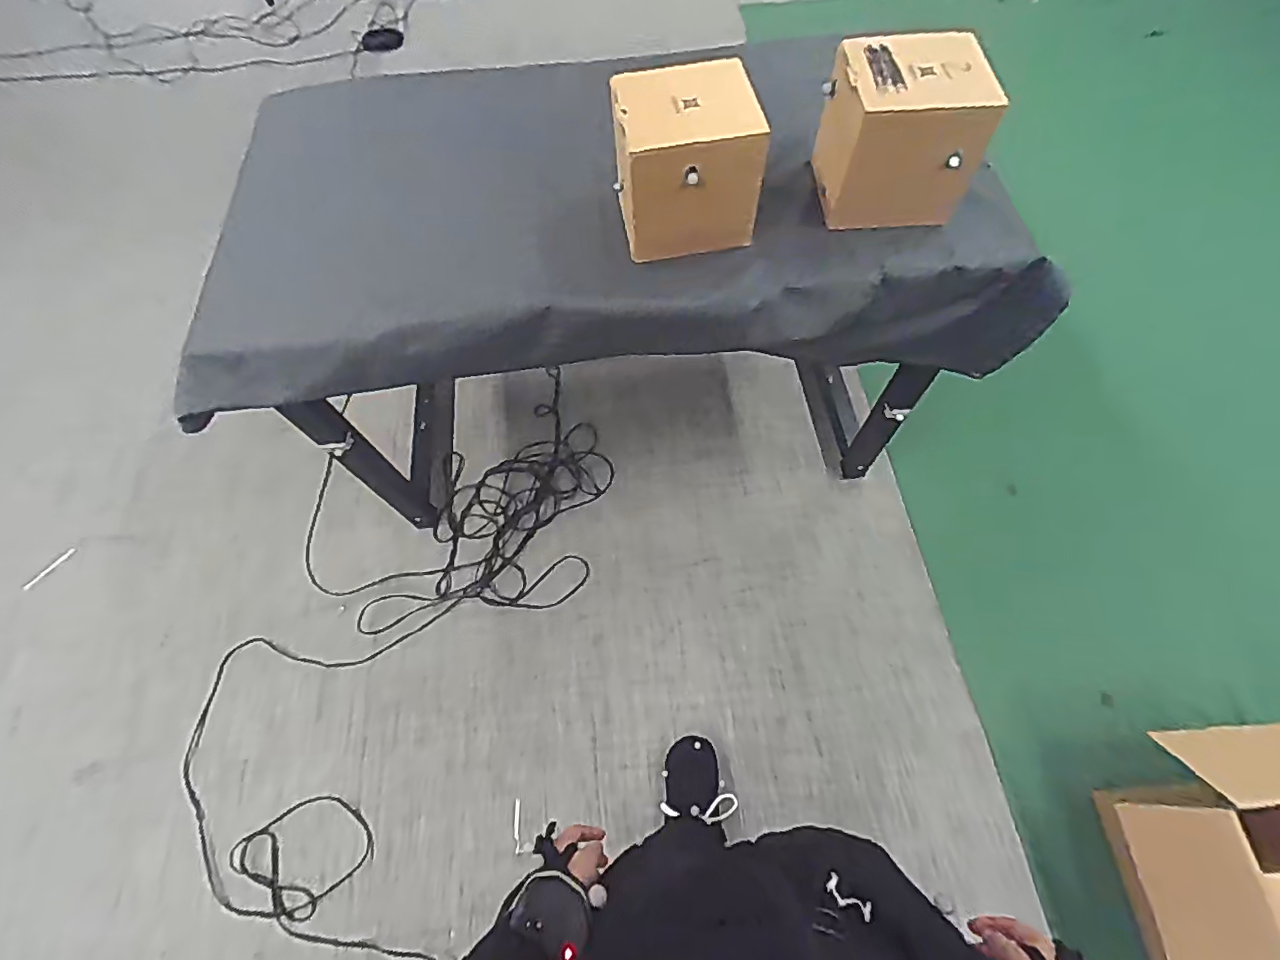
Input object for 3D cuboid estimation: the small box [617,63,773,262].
[{"bbox_3d":[0.068,-0.434,0.755,0.179,0.176,0.168,-9,64,-1],"label":"small box"}]
